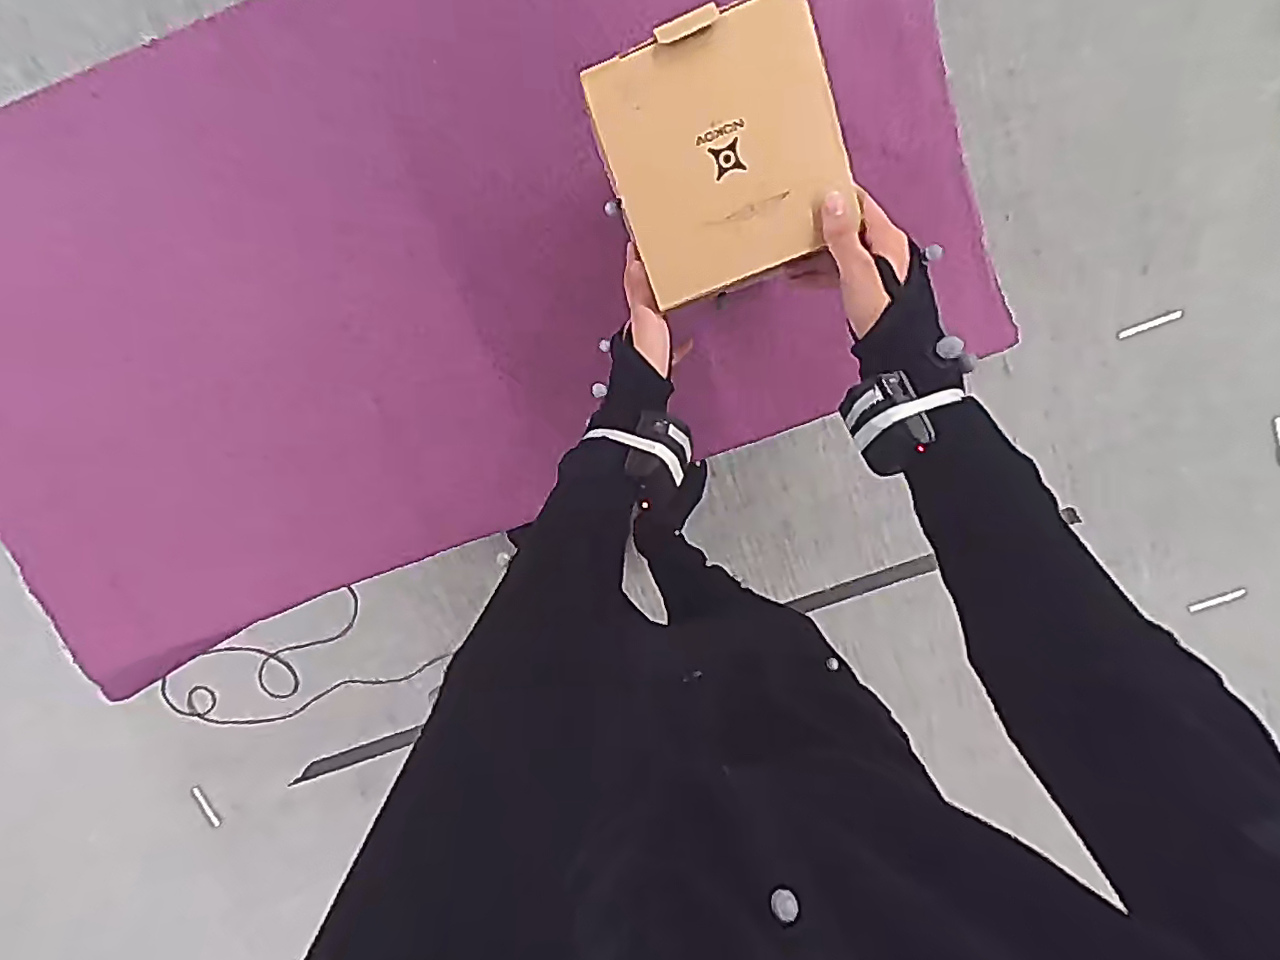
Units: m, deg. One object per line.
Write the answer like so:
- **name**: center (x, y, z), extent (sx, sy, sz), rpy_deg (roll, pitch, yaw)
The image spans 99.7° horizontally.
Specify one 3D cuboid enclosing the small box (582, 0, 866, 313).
- **small box**: center (0.063, -0.256, 0.461), extent (0.168, 0.176, 0.179), rpy_deg (-18, 103, 6)
